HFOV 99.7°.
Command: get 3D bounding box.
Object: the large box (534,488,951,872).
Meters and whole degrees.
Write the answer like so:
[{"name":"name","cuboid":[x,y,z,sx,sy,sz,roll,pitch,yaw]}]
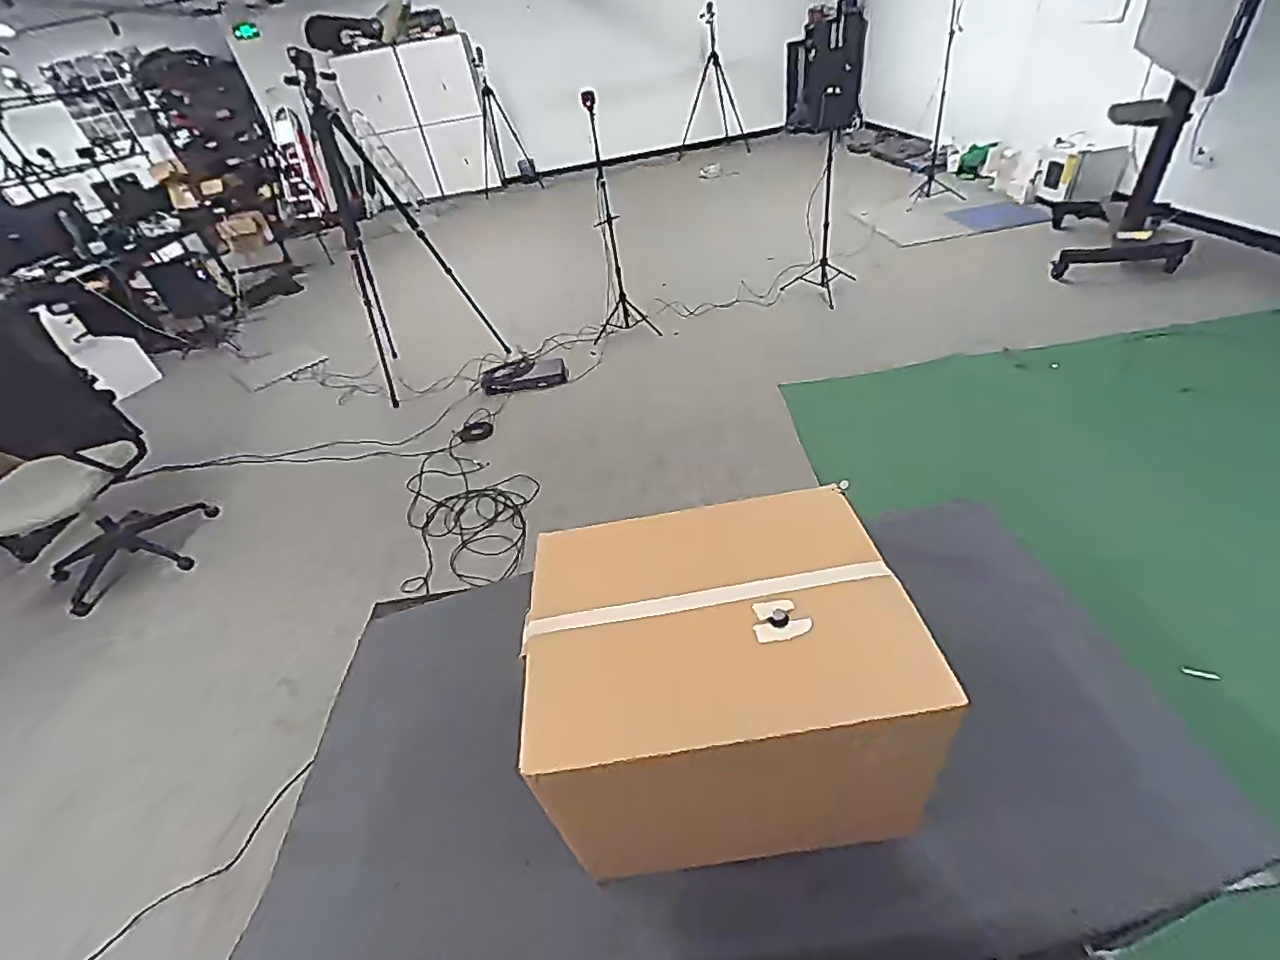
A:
[{"name":"large box","cuboid":[0.100,0.254,0.705,0.408,0.320,0.320,-10,39,1]}]
